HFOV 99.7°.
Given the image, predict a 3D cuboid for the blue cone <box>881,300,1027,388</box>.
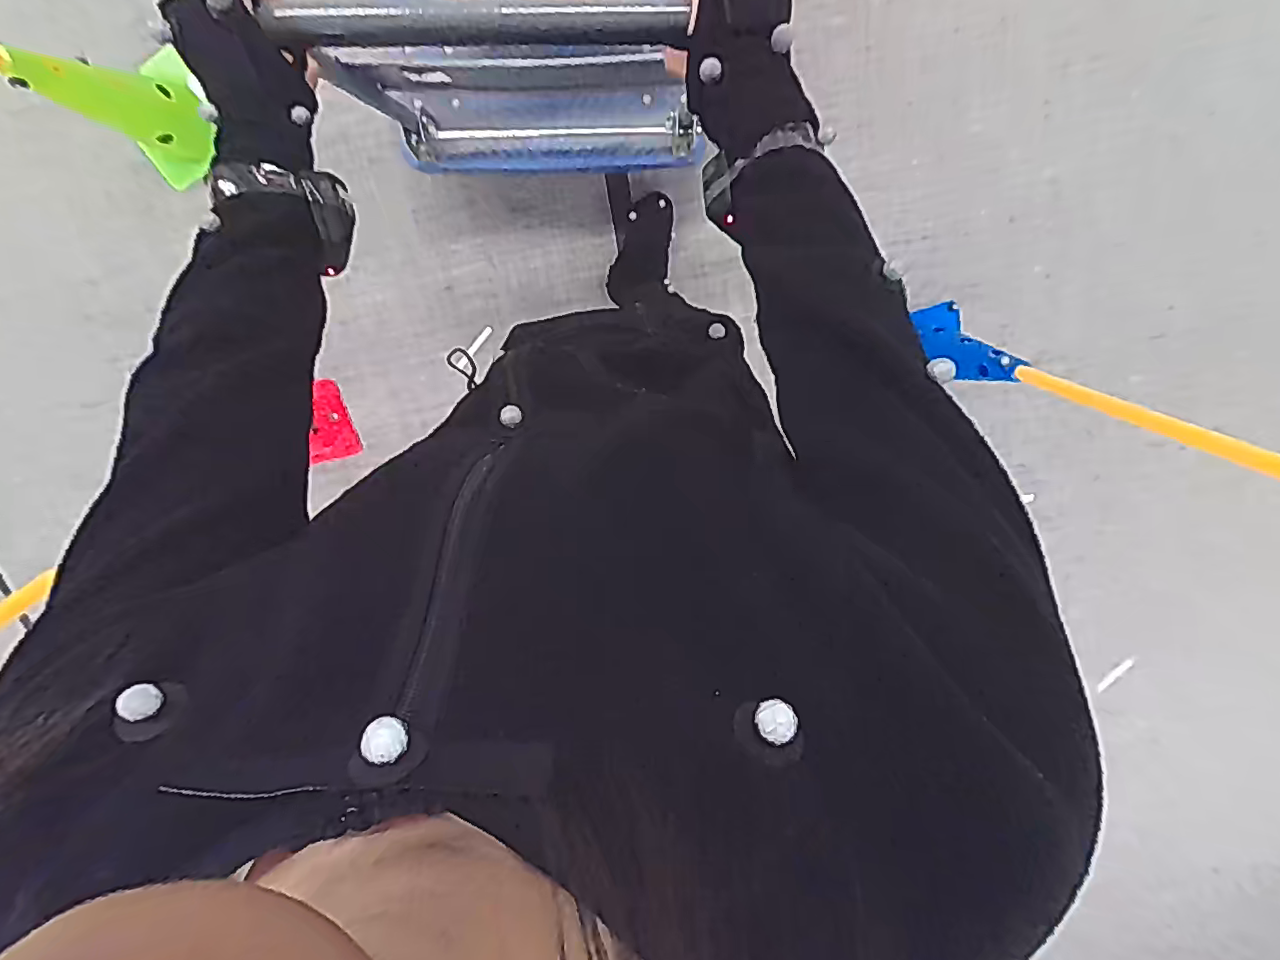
[{"bbox_3d":[0.716,-0.281,1.204,0.193,0.380,0.192,-15,109,3],"label":"blue cone"}]
